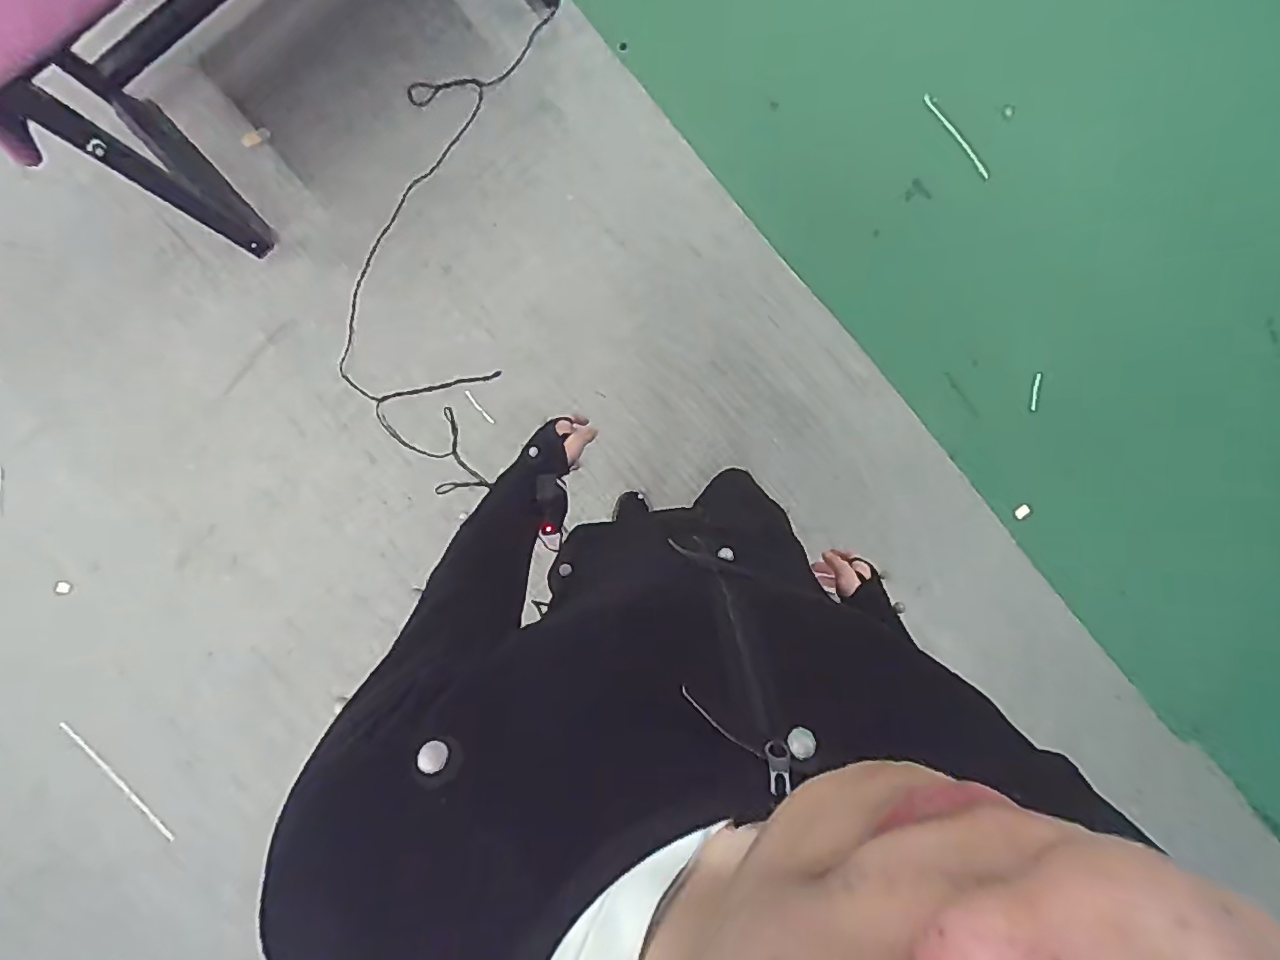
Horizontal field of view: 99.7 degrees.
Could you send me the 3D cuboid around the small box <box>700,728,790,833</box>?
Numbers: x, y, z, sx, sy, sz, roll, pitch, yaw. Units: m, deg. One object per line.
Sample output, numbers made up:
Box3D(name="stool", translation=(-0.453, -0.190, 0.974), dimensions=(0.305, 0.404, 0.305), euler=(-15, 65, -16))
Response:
Box3D(name="small box", translation=(0.292, 0.843, 1.545), dimensions=(0.168, 0.176, 0.179), euler=(-36, 93, -1))
